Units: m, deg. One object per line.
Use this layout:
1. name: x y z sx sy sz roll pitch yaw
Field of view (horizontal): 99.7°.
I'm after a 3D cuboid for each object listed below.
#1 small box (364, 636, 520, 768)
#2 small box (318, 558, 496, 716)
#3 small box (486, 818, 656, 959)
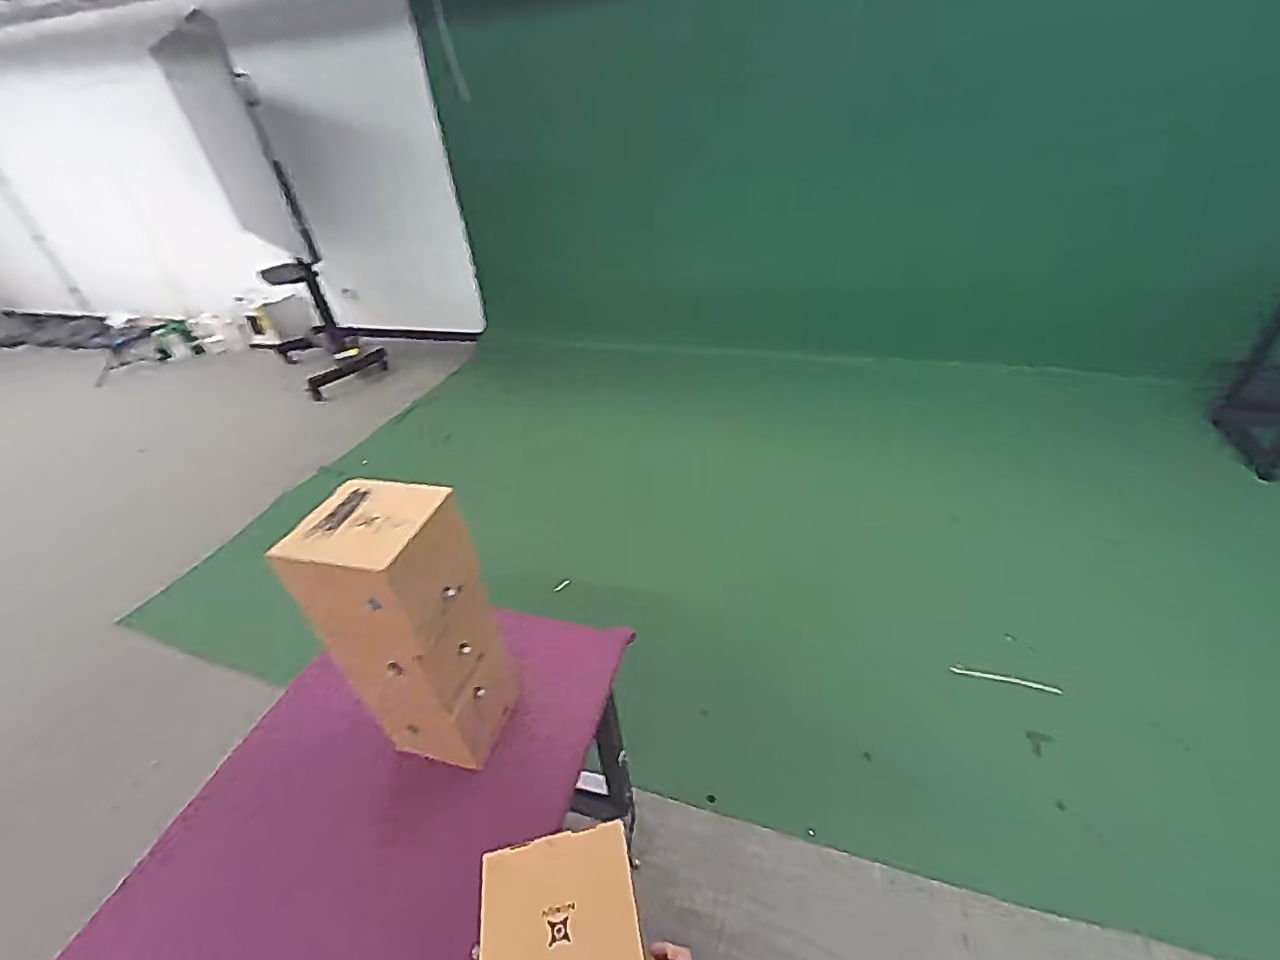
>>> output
1. small box: -0.341 0.384 0.967 0.179 0.176 0.168 4 39 16
2. small box: -0.358 0.252 0.869 0.179 0.176 0.168 5 37 17
3. small box: -0.070 0.523 0.604 0.168 0.176 0.179 -10 35 -7
